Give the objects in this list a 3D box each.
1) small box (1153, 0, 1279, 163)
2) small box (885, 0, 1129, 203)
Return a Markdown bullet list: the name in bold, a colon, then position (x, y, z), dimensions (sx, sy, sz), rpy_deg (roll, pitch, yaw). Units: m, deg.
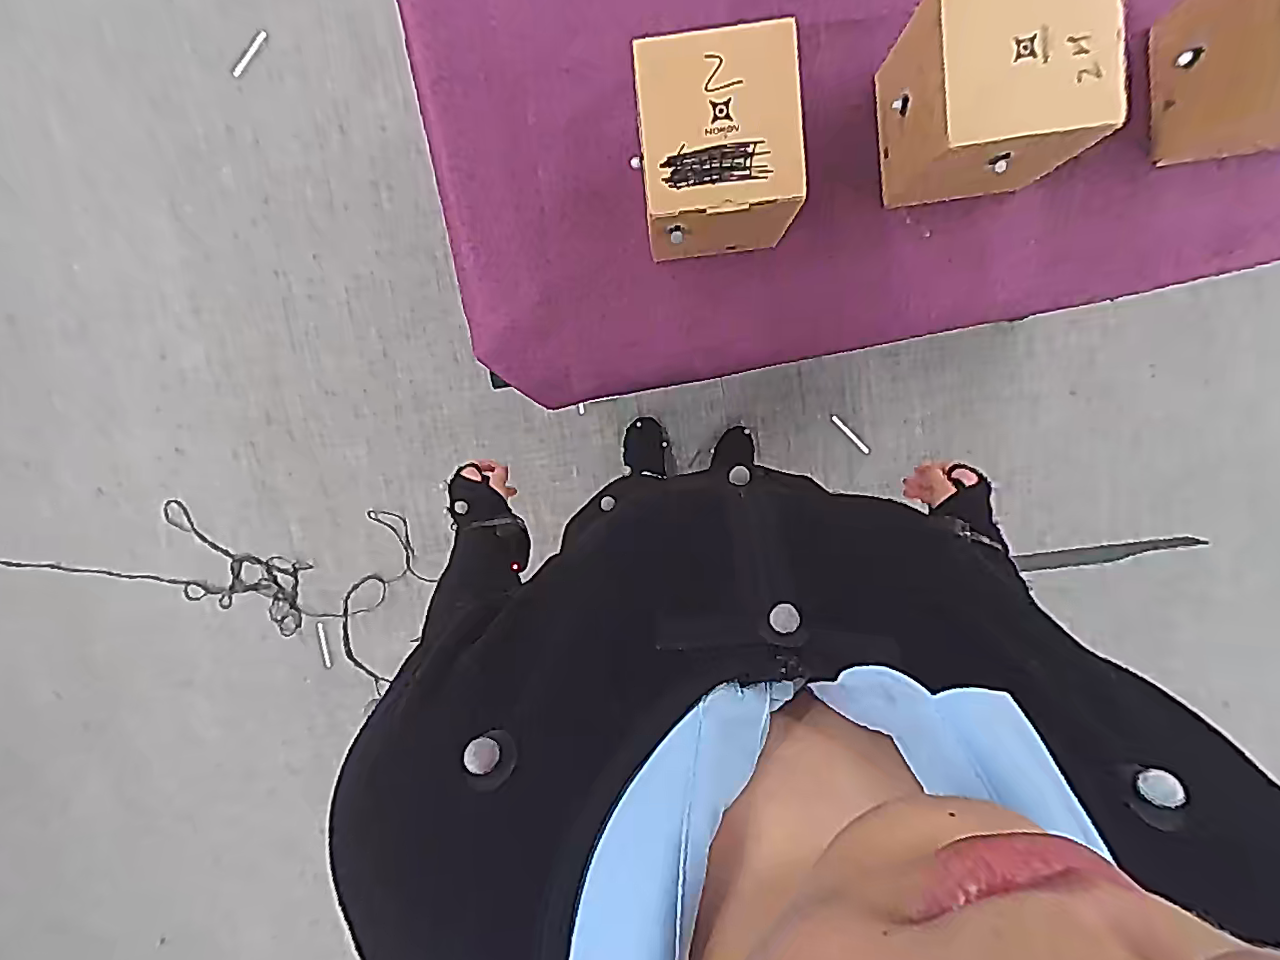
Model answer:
- **small box**: position (0.725, -0.477, 0.590), dimensions (0.179, 0.176, 0.168), rpy_deg (-6, 96, 4)
- **small box**: position (0.392, -0.433, 0.610), dimensions (0.179, 0.176, 0.168), rpy_deg (-6, 97, 3)
